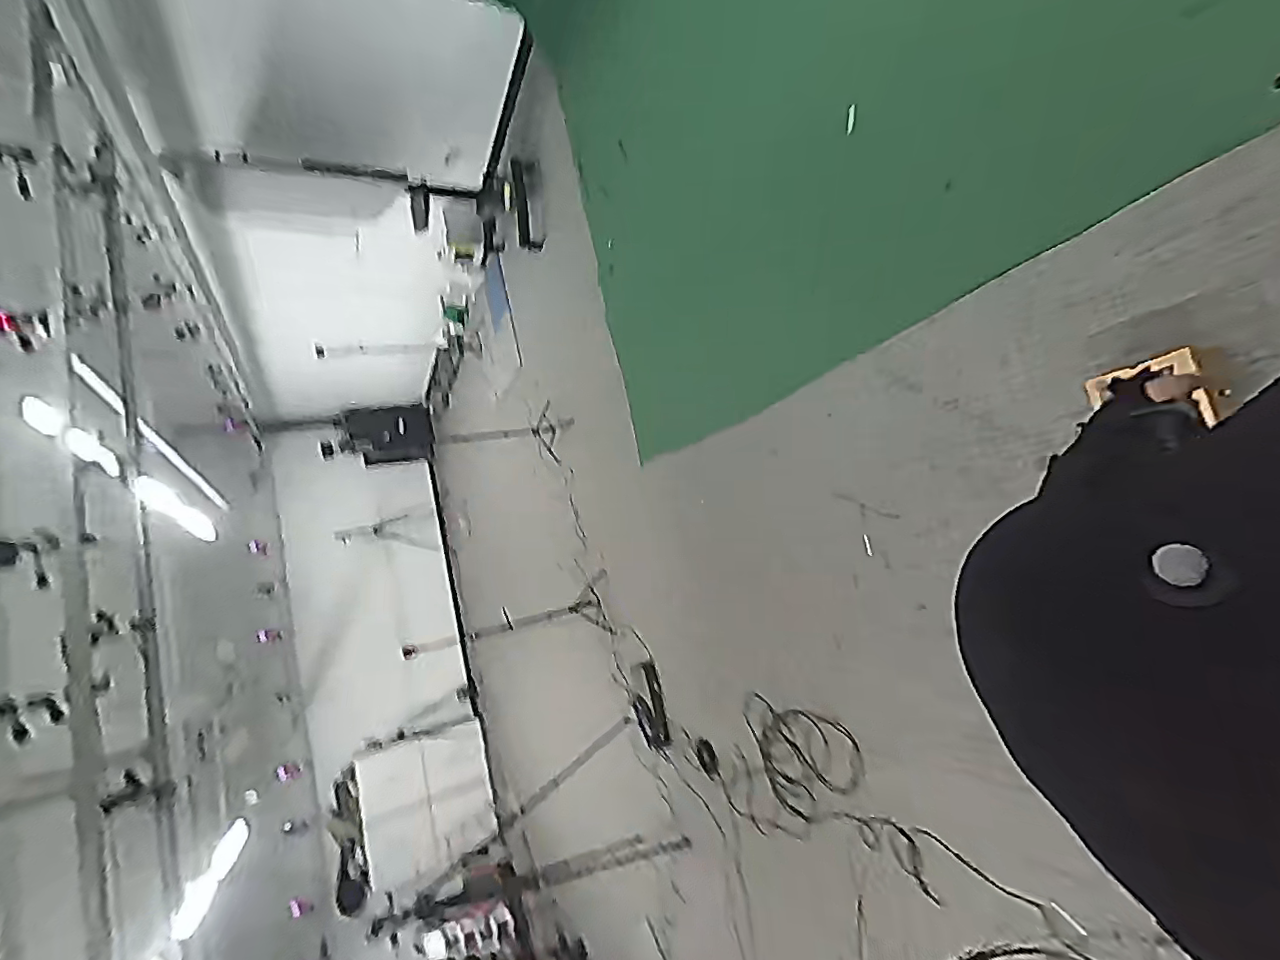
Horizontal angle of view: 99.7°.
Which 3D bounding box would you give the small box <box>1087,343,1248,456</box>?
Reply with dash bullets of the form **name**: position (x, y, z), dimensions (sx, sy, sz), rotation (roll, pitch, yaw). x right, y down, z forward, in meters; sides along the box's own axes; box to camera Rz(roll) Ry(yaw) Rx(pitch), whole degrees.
- **small box**: position (1.042, -0.157, 1.072), dimensions (0.168, 0.176, 0.179), rotation (-25, 77, 60)
